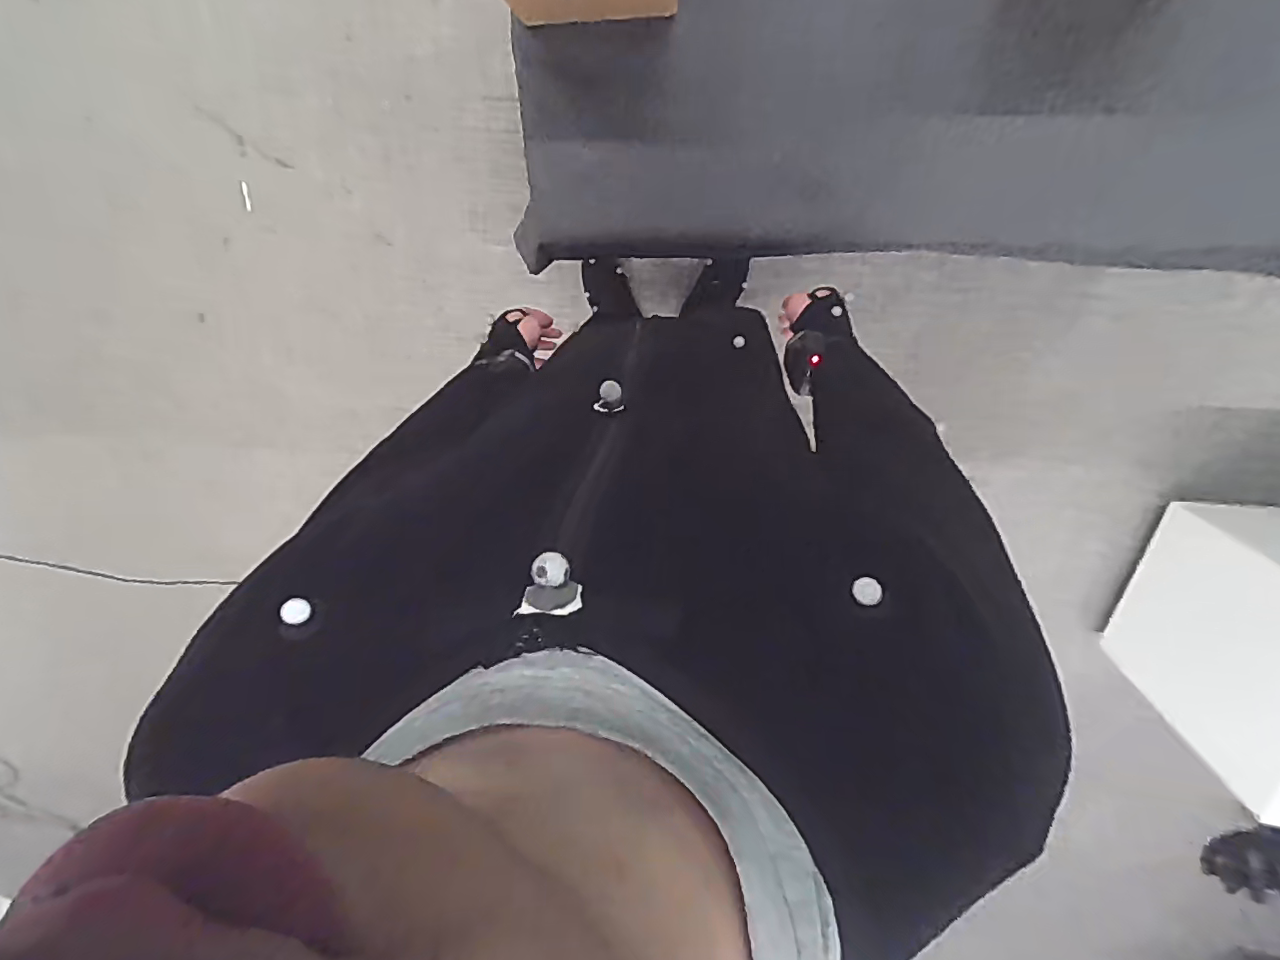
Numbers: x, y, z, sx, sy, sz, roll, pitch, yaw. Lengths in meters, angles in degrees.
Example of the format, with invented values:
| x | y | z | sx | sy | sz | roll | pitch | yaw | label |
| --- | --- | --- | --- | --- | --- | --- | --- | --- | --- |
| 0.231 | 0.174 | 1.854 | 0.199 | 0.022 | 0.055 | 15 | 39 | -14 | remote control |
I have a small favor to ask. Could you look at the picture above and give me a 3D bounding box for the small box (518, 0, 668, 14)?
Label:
| x | y | z | sx | sy | sz | roll | pitch | yaw | label |
| --- | --- | --- | --- | --- | --- | --- | --- | --- | --- |
| -0.052 | -0.552 | 0.486 | 0.179 | 0.176 | 0.168 | -1 | 115 | 3 | small box |
